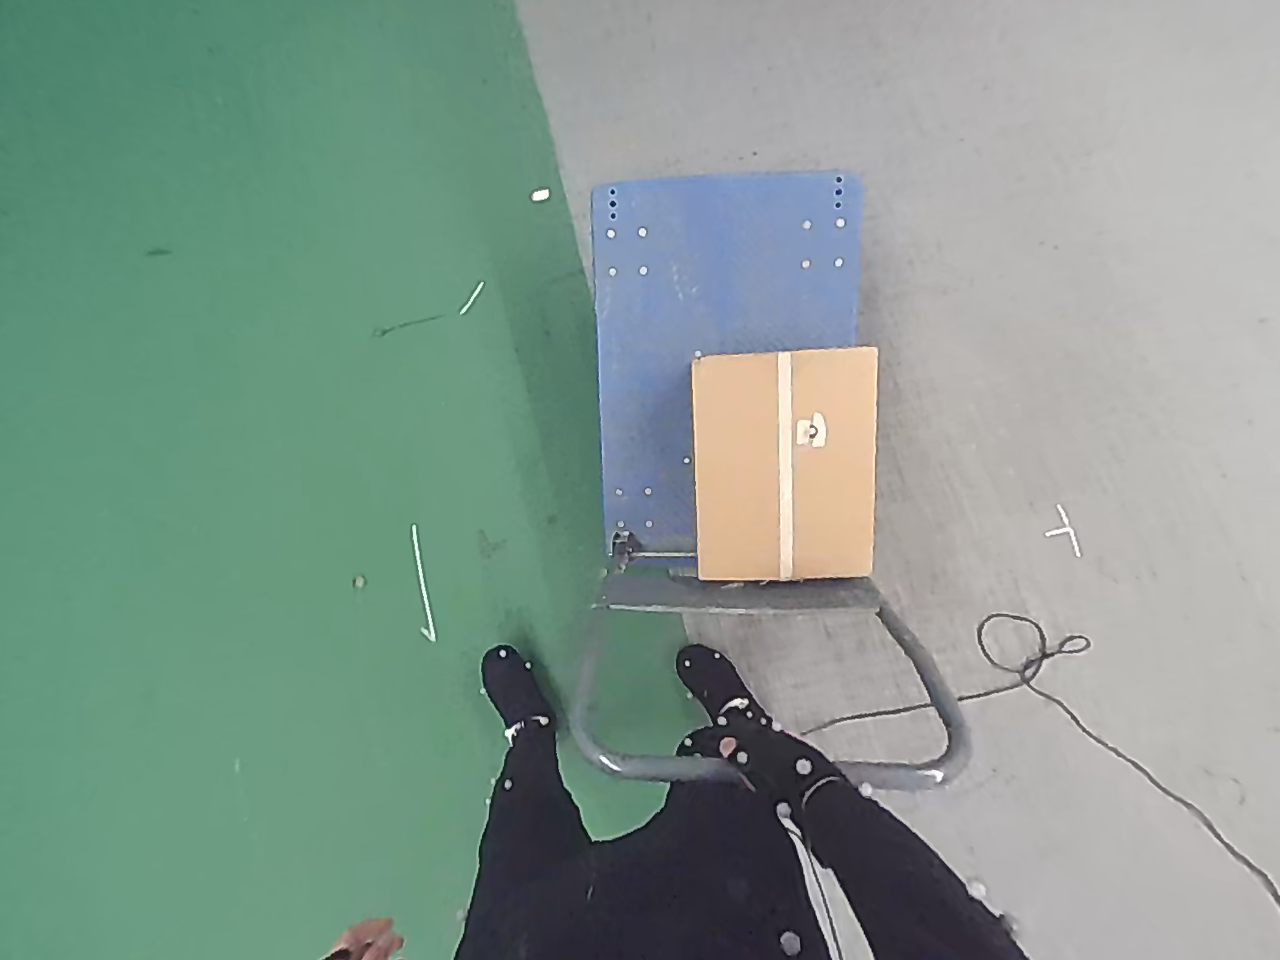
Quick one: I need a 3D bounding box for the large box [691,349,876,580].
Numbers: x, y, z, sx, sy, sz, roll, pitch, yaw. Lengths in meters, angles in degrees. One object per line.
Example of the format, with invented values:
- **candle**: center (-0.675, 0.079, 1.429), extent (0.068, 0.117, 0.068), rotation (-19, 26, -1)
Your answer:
- **large box**: center (0.270, -0.040, 1.107), extent (0.320, 0.320, 0.408), rotation (-3, 99, 4)
